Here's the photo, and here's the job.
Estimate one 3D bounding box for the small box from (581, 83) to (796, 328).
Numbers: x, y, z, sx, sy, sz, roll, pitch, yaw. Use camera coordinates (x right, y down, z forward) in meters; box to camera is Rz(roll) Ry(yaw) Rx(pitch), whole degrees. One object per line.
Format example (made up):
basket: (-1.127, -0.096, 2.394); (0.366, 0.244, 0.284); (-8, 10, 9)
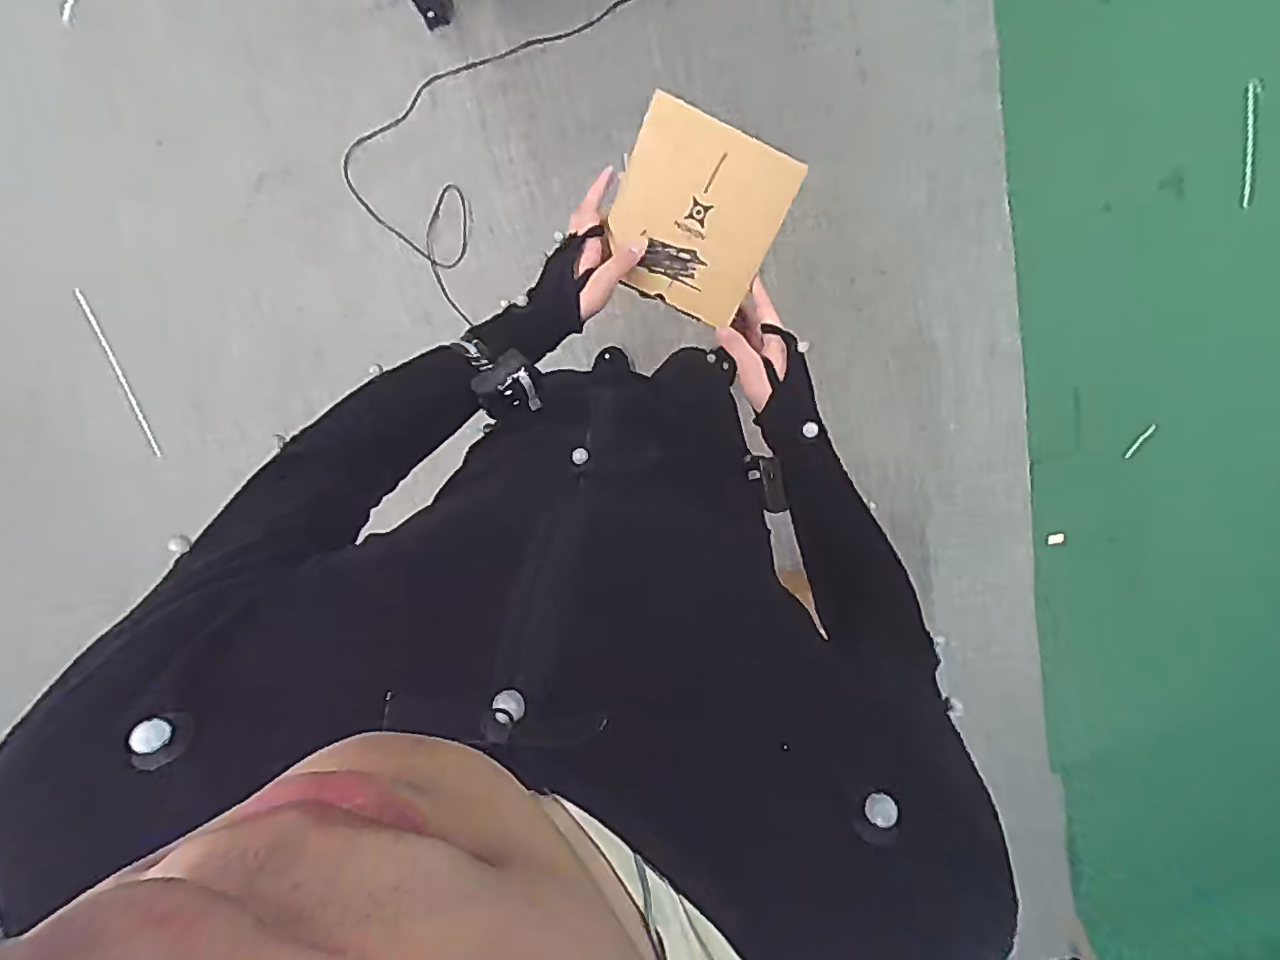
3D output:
small box: (0.051, -0.298, 0.613); (0.168, 0.176, 0.179); (23, 115, -5)
